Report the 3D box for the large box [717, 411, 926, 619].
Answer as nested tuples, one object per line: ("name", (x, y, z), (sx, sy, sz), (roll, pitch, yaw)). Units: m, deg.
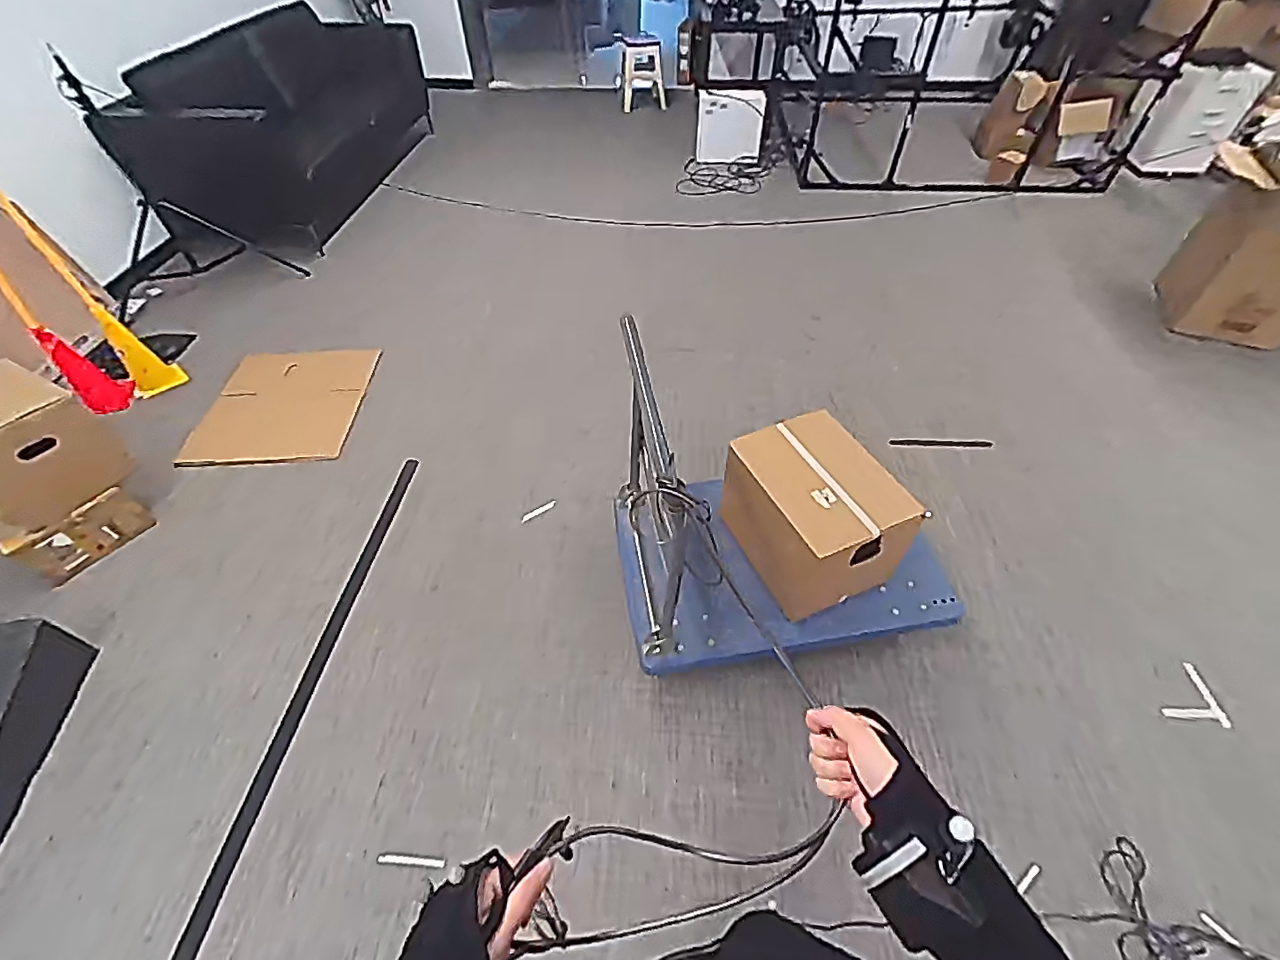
("large box", (0.447, 0.087, 1.446), (0.320, 0.320, 0.408), (-20, 53, -14))
